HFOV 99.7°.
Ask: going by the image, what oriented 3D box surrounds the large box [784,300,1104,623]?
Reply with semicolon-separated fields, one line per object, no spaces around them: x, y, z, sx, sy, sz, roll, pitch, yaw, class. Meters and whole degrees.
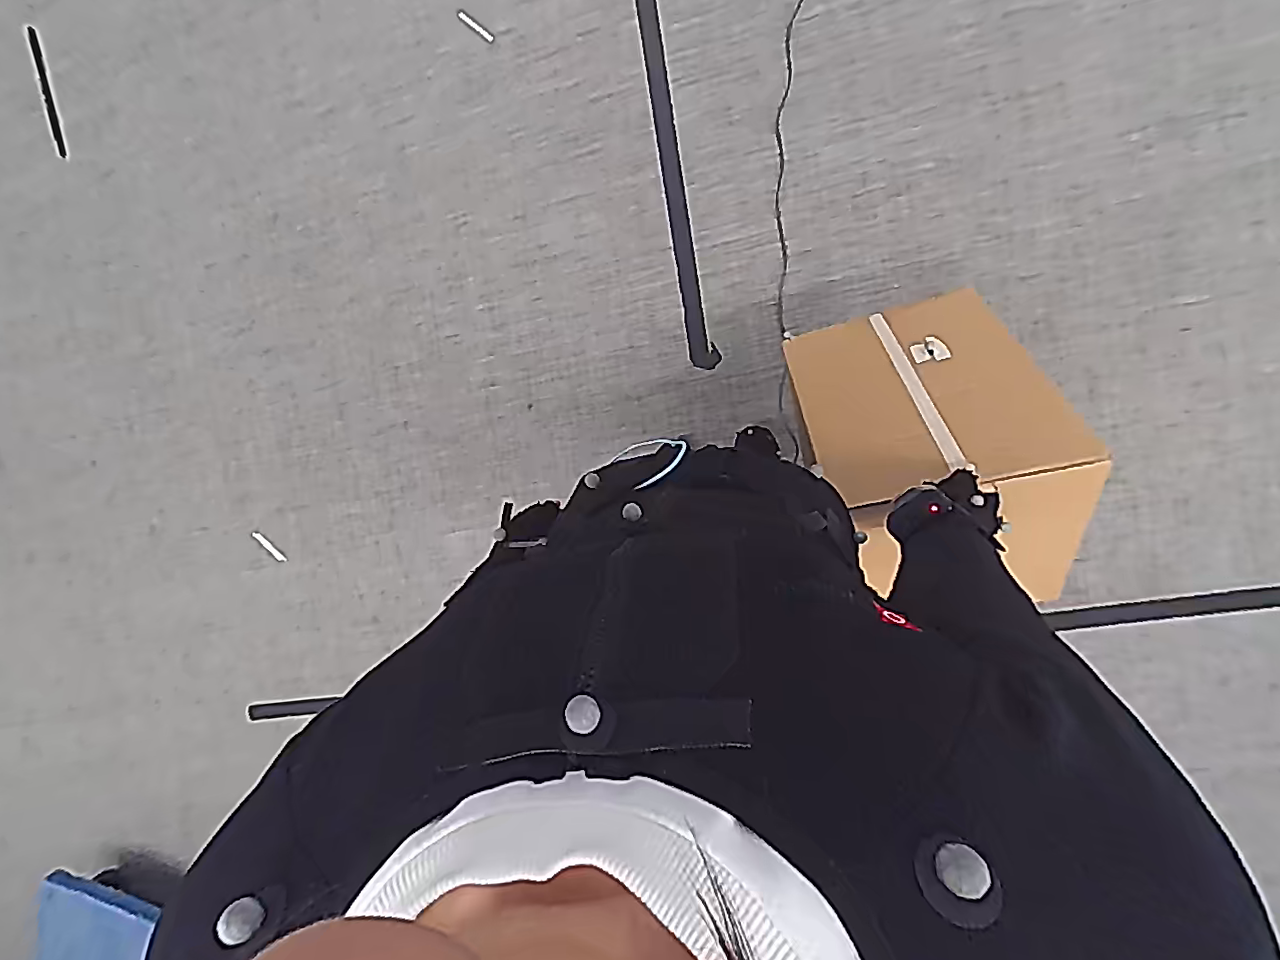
0.453;-0.031;0.905;0.320;0.408;0.320;-12;133;13;large box
